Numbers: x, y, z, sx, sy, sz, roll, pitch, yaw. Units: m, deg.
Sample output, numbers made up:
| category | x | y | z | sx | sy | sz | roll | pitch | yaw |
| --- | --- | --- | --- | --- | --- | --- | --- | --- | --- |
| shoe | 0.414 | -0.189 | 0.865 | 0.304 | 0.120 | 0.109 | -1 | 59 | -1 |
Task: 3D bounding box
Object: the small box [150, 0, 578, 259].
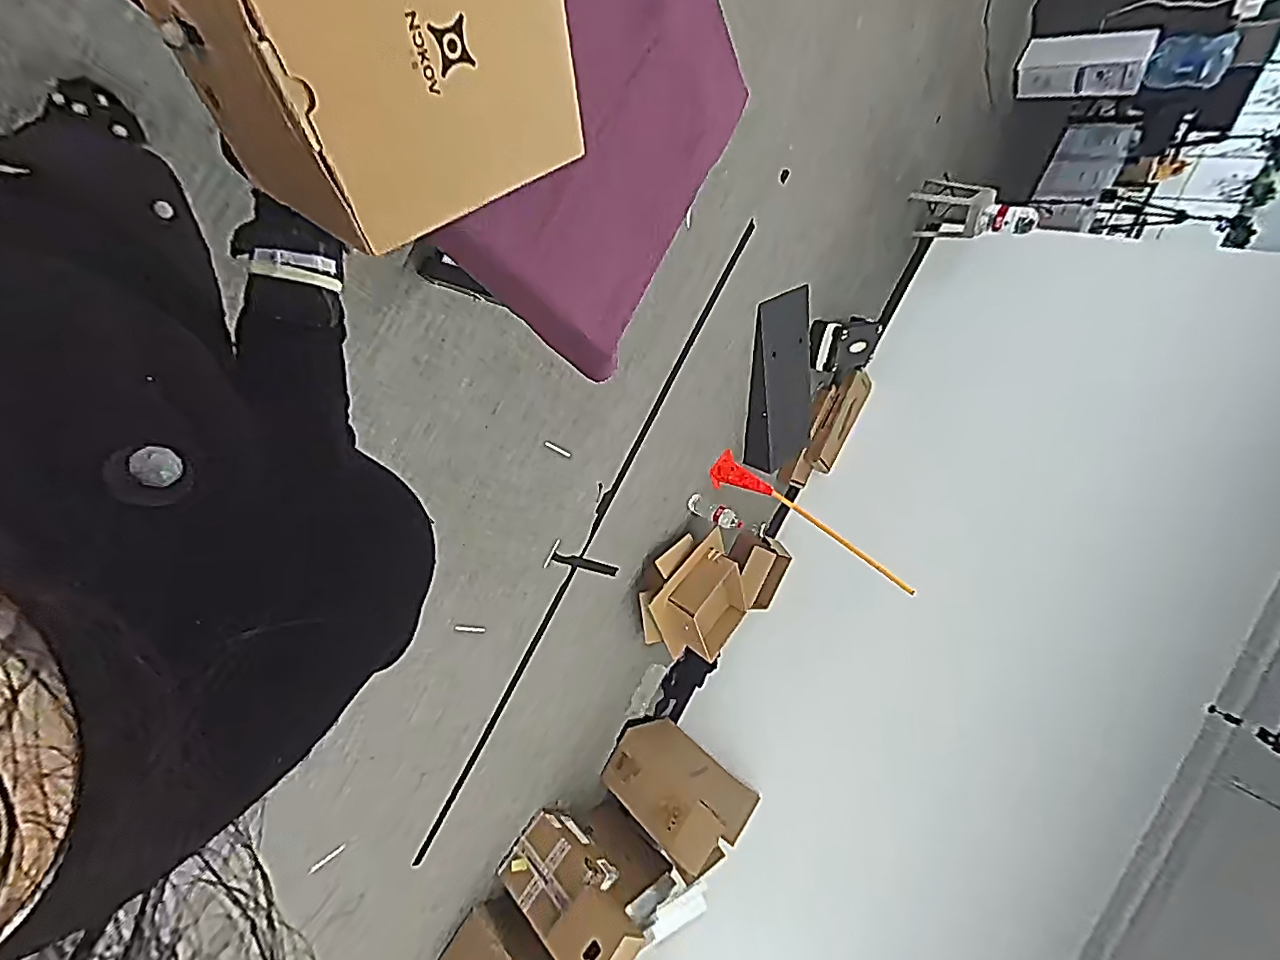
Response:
| category | x | y | z | sx | sy | sz | roll | pitch | yaw |
| --- | --- | --- | --- | --- | --- | --- | --- | --- | --- |
| small box | -0.166 | -0.276 | 0.334 | 0.179 | 0.176 | 0.168 | -42 | 151 | -24 |
